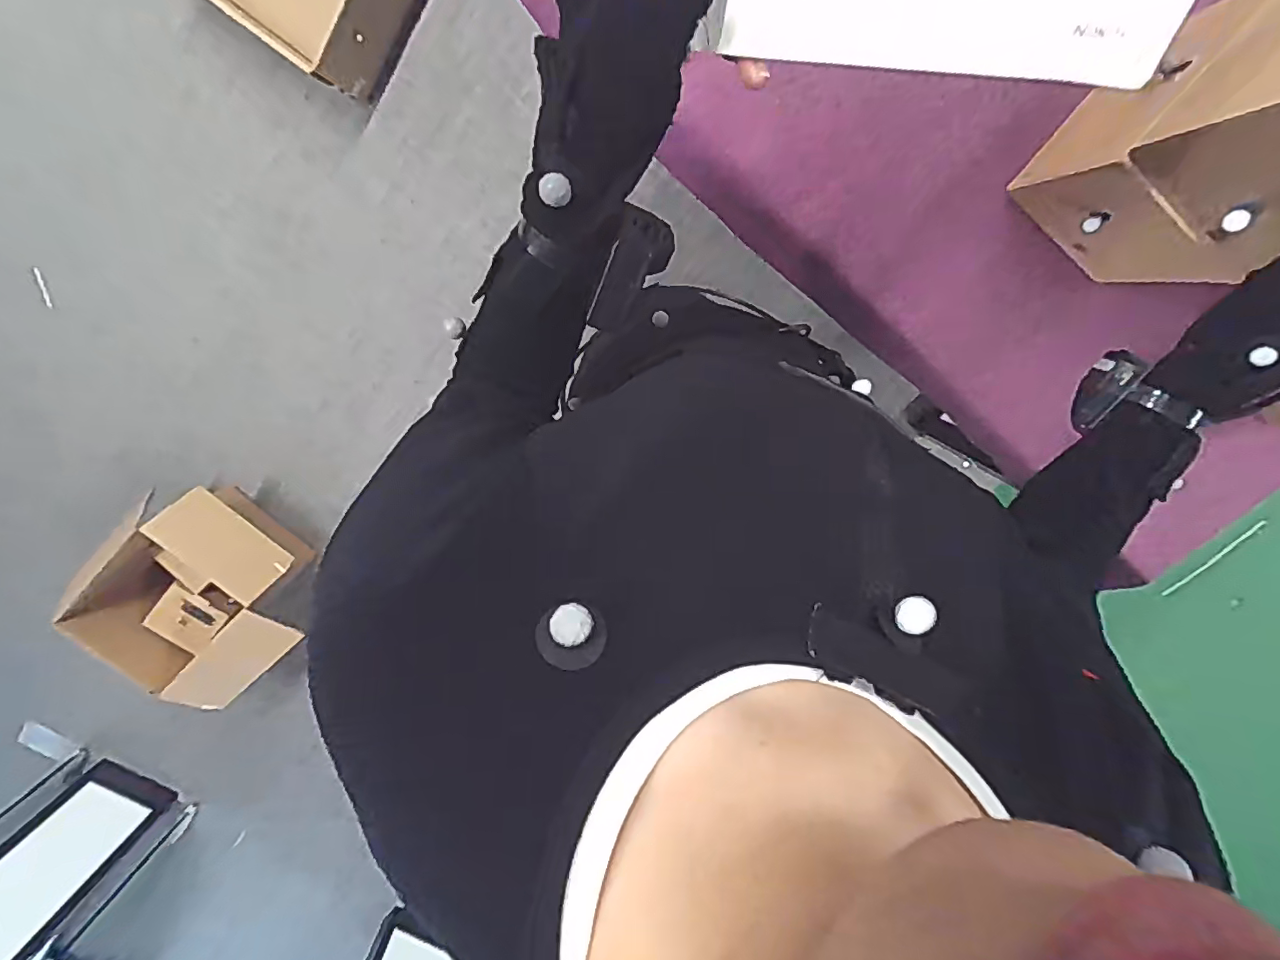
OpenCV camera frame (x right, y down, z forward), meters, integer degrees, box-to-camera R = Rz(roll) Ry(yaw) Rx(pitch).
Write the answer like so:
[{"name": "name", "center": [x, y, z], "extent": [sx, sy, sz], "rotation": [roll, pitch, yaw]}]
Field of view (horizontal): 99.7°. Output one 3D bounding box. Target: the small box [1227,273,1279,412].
[{"name": "small box", "center": [0.799, -0.161, 0.570], "extent": [0.168, 0.176, 0.179], "rotation": [39, 107, -12]}]

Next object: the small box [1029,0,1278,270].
[{"name": "small box", "center": [0.526, -0.324, 0.521], "extent": [0.168, 0.176, 0.179], "rotation": [36, 107, -11]}]

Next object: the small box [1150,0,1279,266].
[{"name": "small box", "center": [0.528, -0.270, 0.365], "extent": [0.168, 0.176, 0.179], "rotation": [39, 106, -12]}]
